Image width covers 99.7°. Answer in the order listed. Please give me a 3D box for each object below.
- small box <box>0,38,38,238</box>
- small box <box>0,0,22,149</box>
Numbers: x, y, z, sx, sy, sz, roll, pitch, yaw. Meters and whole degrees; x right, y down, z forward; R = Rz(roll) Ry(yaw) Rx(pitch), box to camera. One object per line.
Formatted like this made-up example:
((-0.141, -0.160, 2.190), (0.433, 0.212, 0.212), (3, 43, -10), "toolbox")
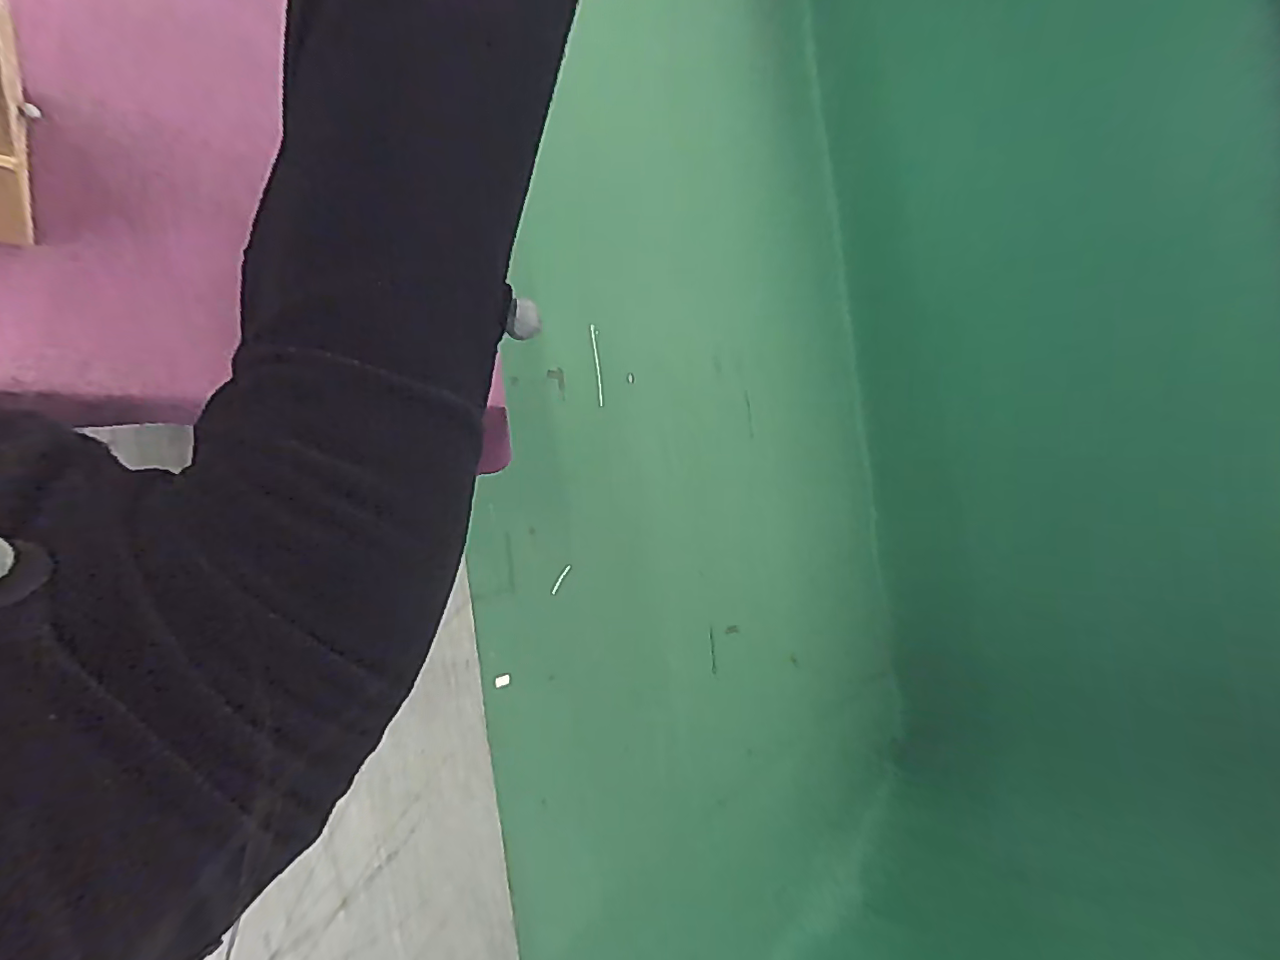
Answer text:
((-0.625, -0.329, 0.443), (0.168, 0.176, 0.179), (-4, 87, -46), "small box")
((-0.510, -0.352, 0.328), (0.168, 0.176, 0.179), (-5, 88, -45), "small box")
